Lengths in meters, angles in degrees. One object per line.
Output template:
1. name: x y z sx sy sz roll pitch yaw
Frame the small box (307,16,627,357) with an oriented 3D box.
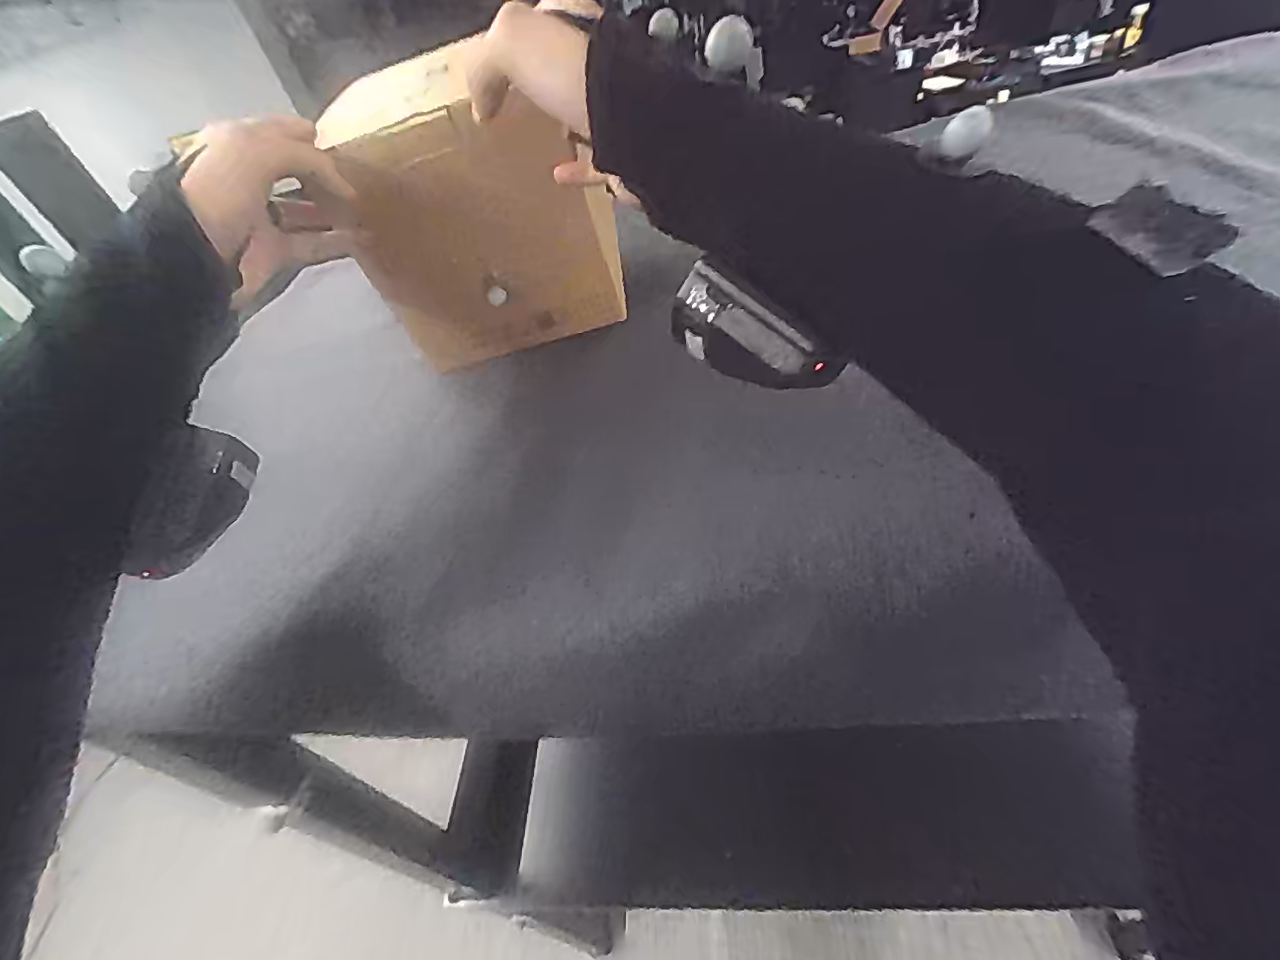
1. small box: -0.112 -0.228 0.434 0.168 0.176 0.179 -13 48 8
